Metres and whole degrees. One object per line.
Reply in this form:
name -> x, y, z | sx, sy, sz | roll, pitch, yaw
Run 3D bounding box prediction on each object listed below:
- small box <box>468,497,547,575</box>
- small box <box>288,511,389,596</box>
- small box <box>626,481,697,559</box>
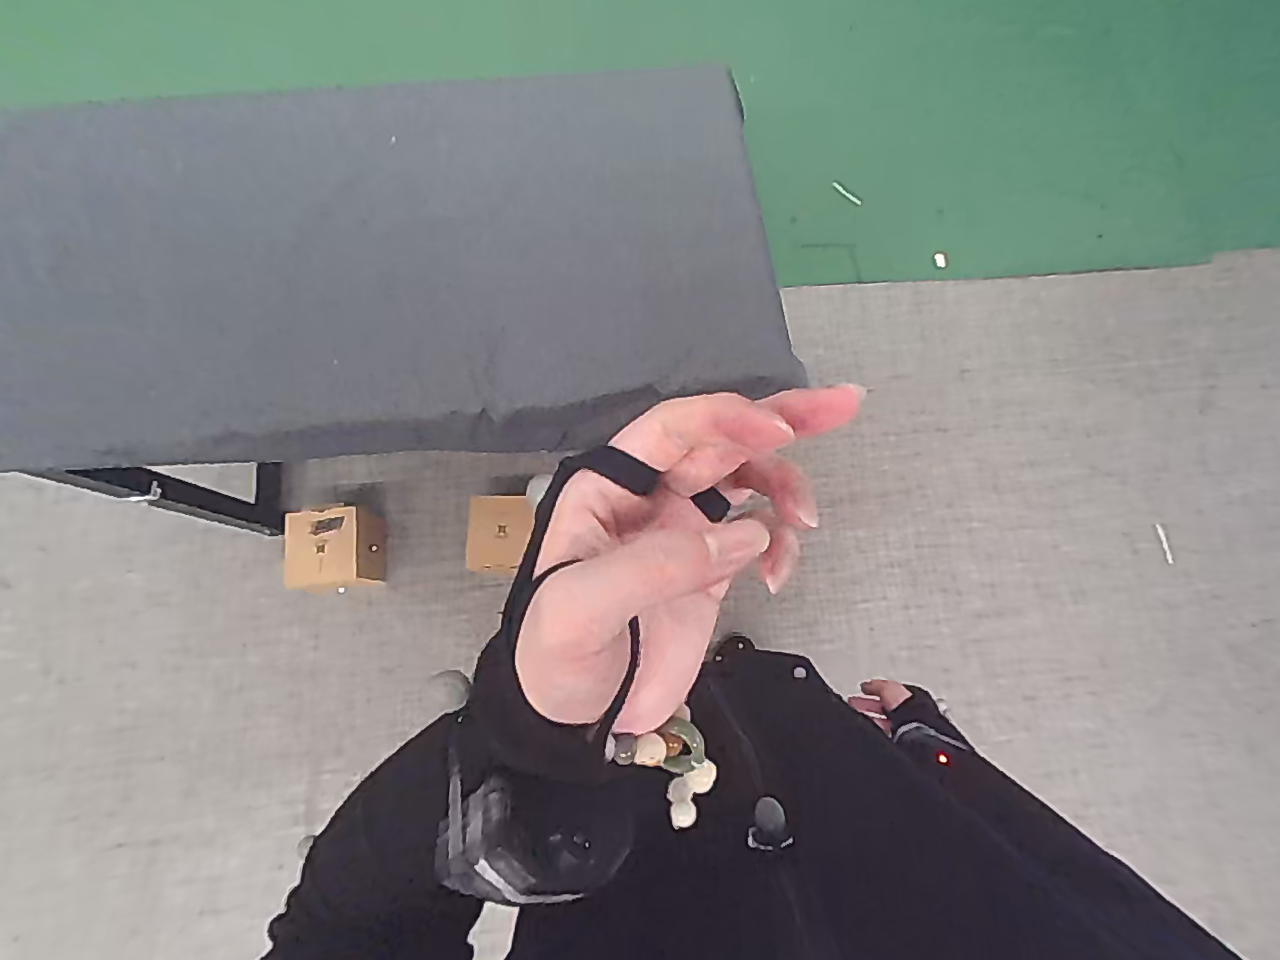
small box -> -0.326, 0.147, 1.364 | 0.168, 0.176, 0.179 | -1, 75, -4
small box -> -0.737, 0.186, 1.337 | 0.168, 0.176, 0.179 | -7, 77, -3
small box -> 0.051, 0.109, 1.386 | 0.168, 0.176, 0.179 | -3, 75, -2
